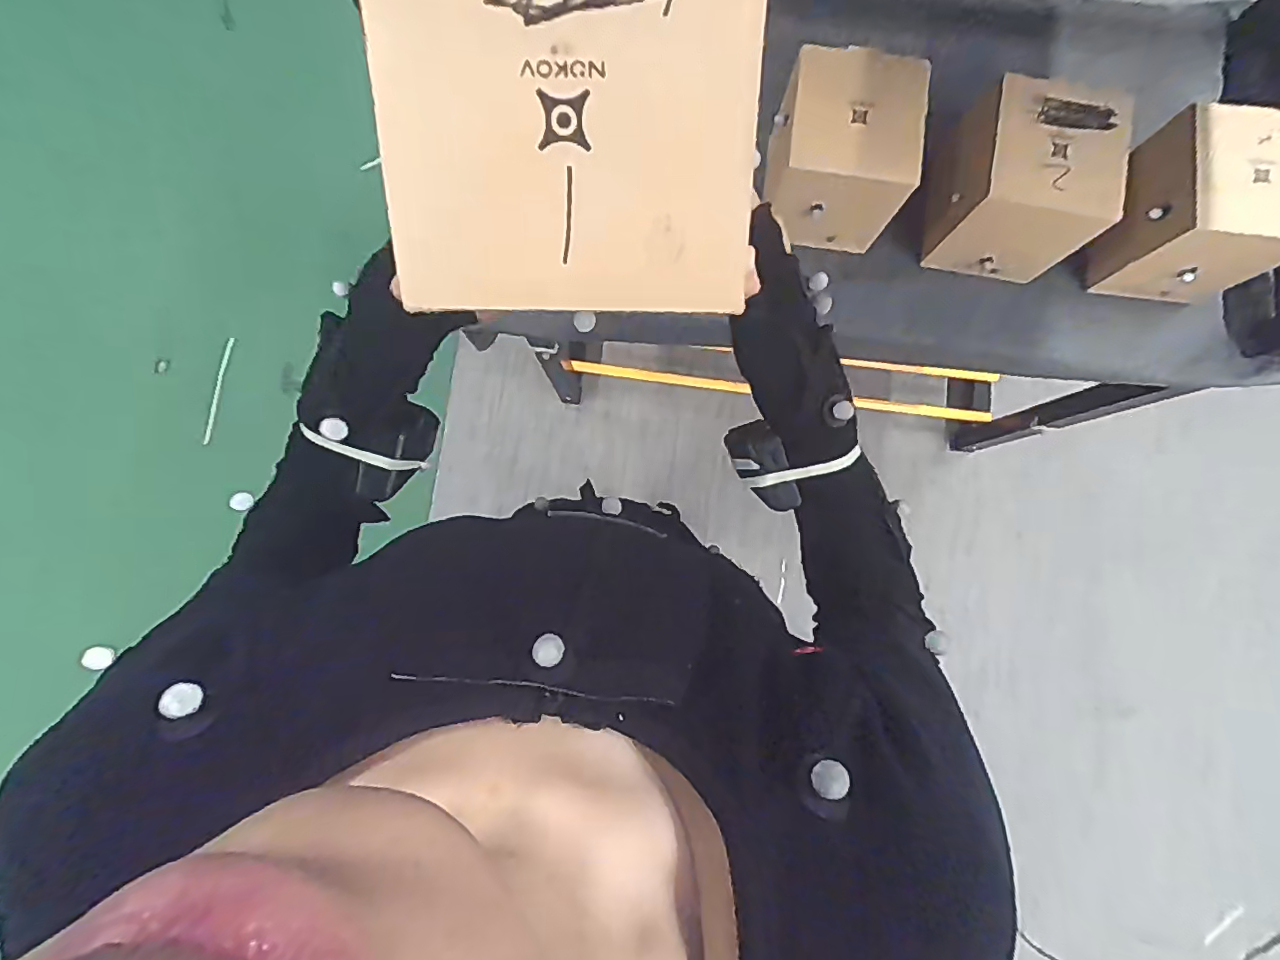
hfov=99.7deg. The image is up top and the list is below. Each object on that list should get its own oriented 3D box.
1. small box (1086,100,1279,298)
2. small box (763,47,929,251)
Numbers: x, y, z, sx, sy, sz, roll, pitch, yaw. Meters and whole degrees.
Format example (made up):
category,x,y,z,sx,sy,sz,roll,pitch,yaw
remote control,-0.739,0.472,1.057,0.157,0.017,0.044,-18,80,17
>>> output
category,x,y,z,sx,sy,sz,roll,pitch,yaw
small box,0.763,-0.373,0.747,0.168,0.176,0.179,7,82,0
small box,0.276,-0.449,0.759,0.168,0.176,0.179,8,83,1
